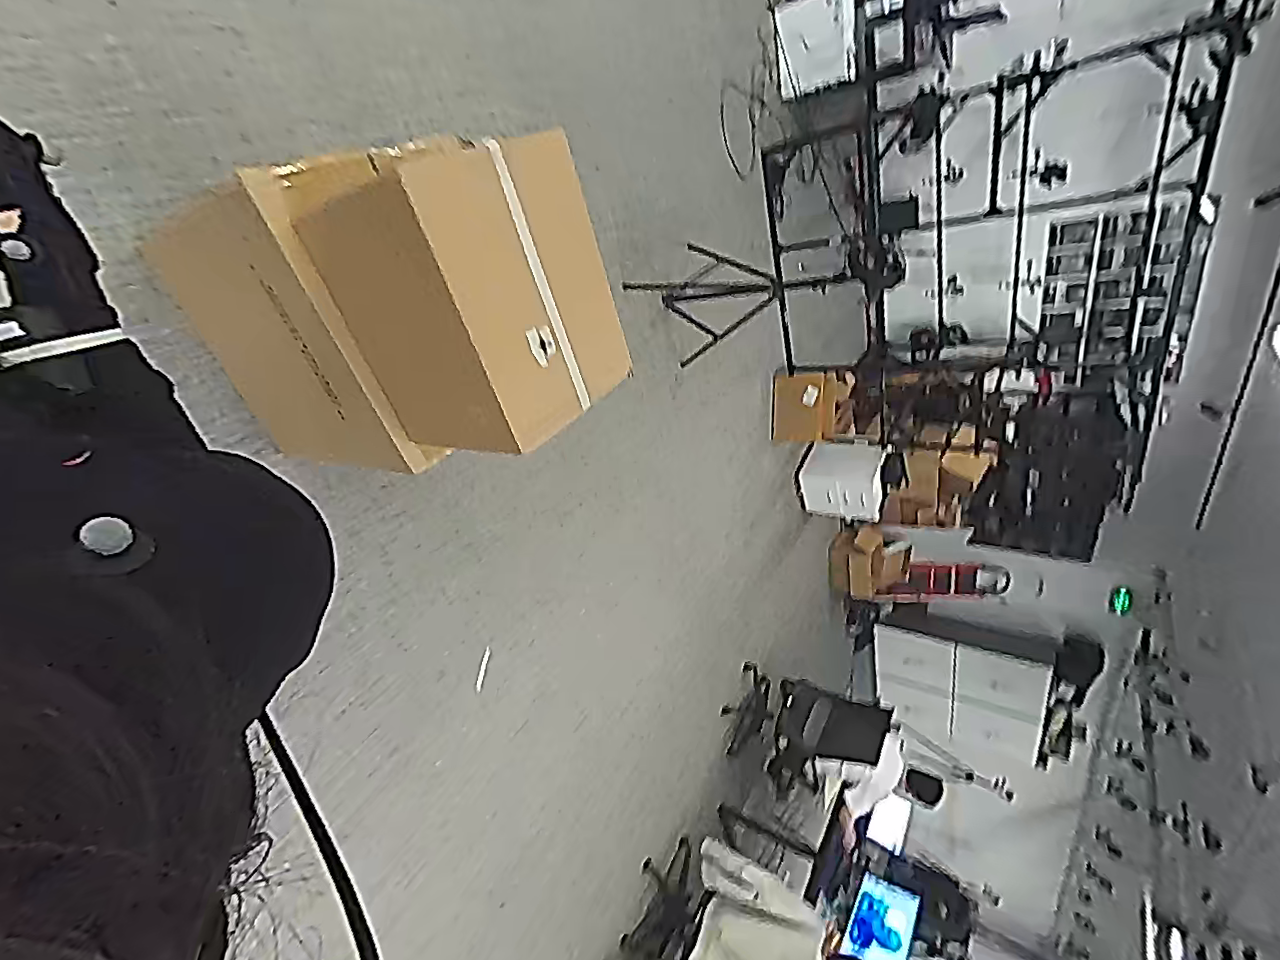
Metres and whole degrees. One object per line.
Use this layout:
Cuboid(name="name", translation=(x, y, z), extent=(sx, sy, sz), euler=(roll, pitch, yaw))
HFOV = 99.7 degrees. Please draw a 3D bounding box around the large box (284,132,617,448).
Cuboid(name="large box", translation=(-0.293, -0.309, 0.922), extent=(0.320, 0.320, 0.408), euler=(-45, 131, -40))
